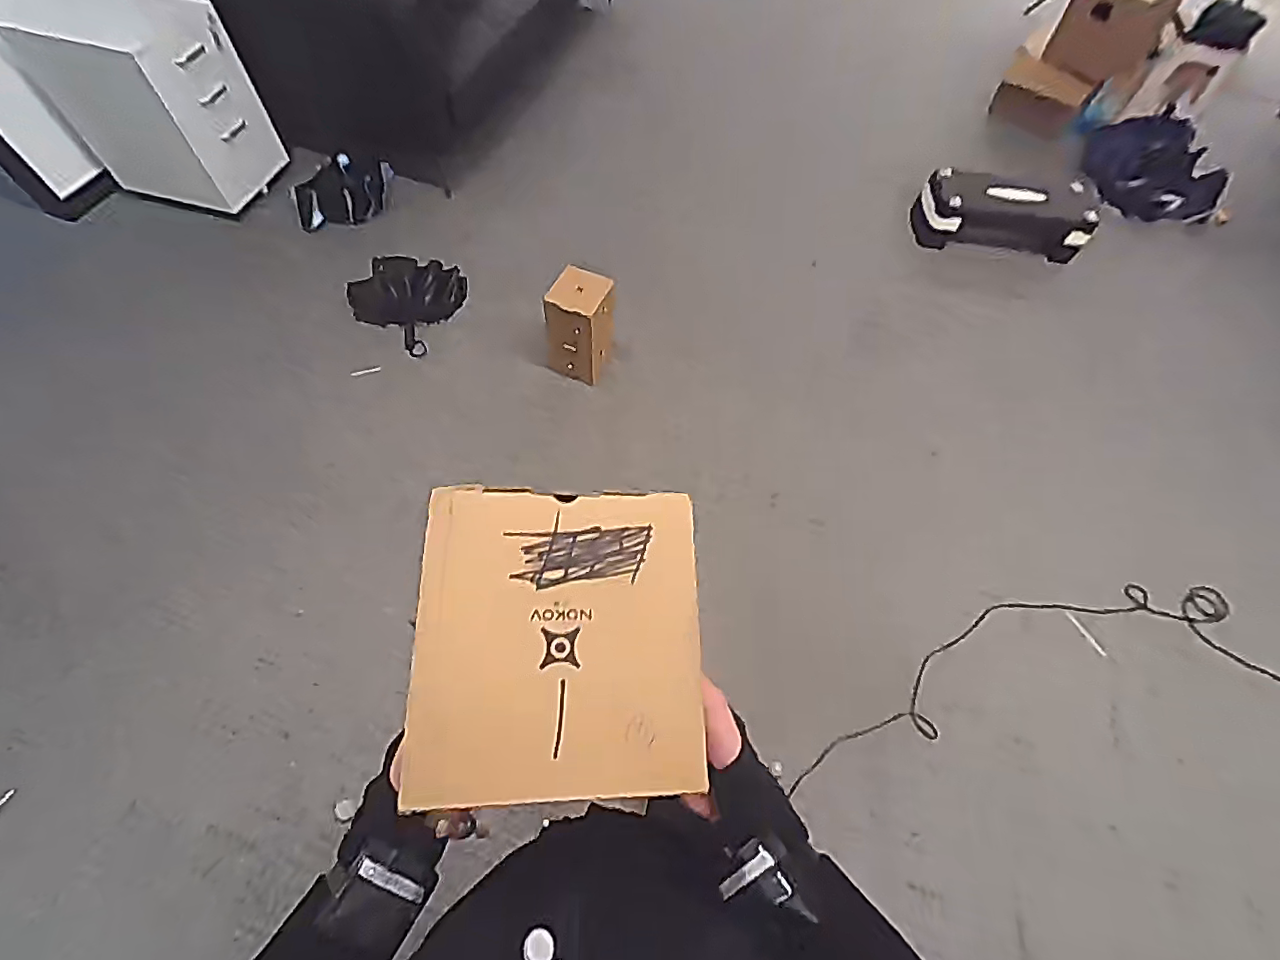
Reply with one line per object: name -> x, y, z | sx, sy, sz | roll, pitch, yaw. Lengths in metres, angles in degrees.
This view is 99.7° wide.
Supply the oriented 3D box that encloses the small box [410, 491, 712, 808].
small box -> -0.053, 0.118, 0.394 | 0.168, 0.176, 0.179 | 2, 71, -9
